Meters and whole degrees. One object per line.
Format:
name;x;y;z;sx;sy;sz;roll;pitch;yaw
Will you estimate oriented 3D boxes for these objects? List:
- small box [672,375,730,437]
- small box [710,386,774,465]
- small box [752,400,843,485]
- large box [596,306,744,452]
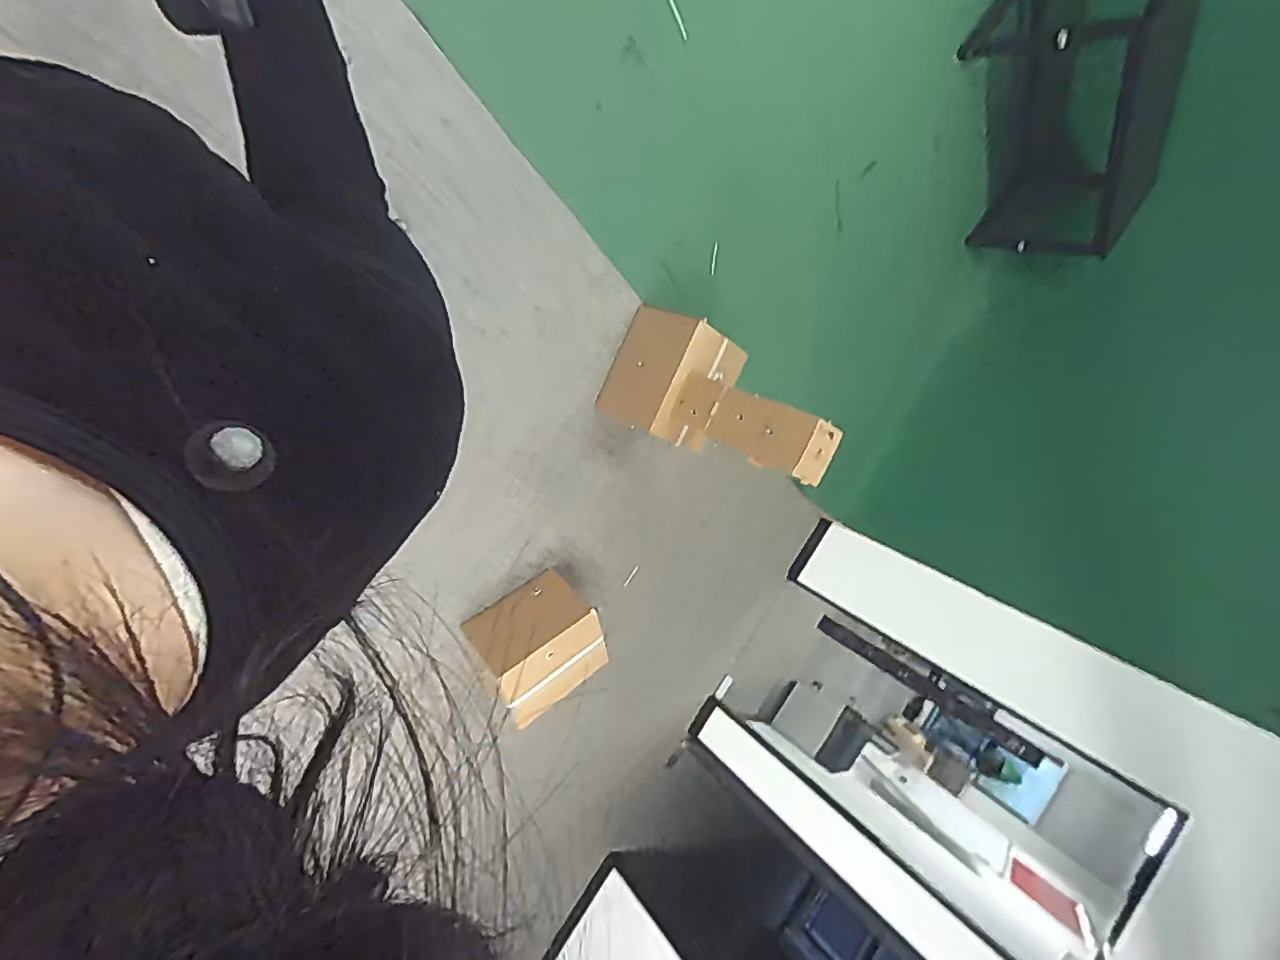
small box;0.236;-0.234;1.785;0.179;0.176;0.168;18;99;-48
small box;0.342;-0.169;1.679;0.168;0.176;0.179;16;100;-47
small box;0.450;-0.109;1.571;0.168;0.176;0.179;17;101;-48
large box;0.104;-0.361;1.952;0.320;0.320;0.408;17;99;-49
